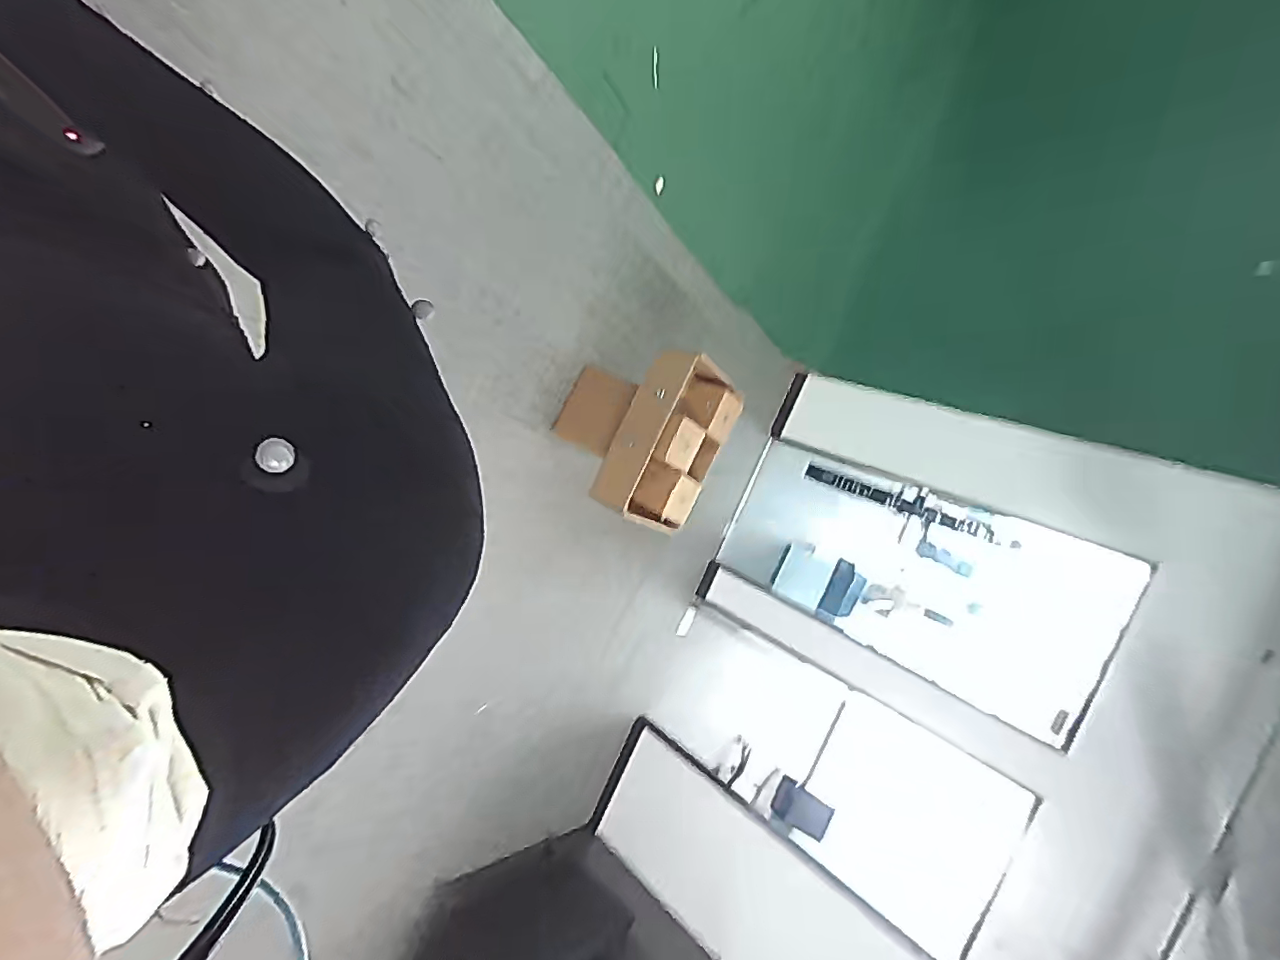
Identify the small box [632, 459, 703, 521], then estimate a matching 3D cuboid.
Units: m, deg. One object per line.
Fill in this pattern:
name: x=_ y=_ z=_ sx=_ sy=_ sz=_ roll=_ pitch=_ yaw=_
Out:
small box: x=0.104 y=0.036 z=2.073 sx=0.179 sy=0.176 sz=0.168 roll=27 pitch=90 yaw=-53
